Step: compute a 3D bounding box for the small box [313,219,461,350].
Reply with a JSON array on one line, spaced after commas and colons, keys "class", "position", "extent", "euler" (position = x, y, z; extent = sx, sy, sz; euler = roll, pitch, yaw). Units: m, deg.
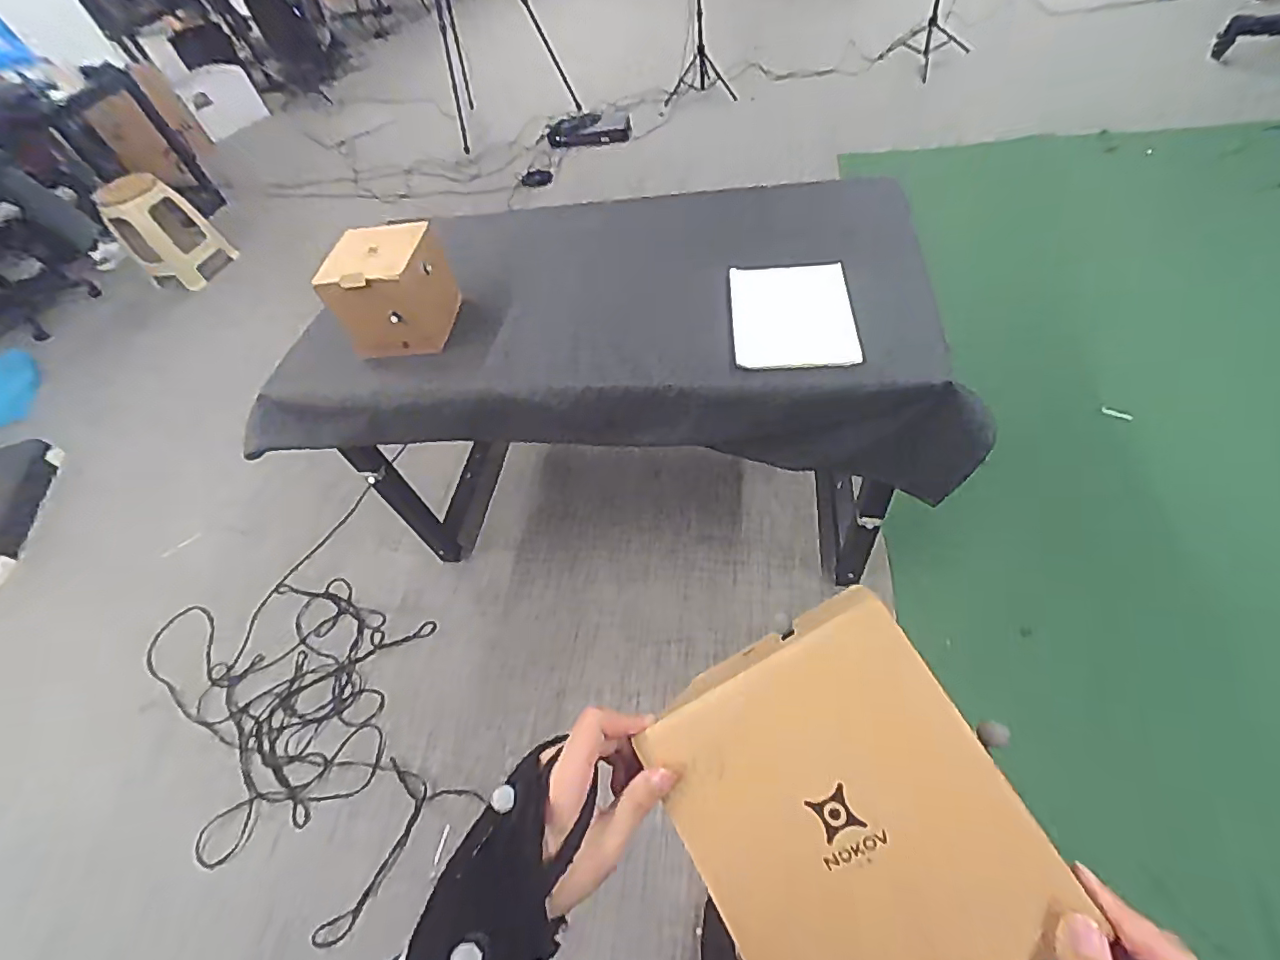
[{"class": "small box", "position": [-0.459, -0.359, 1.015], "extent": [0.168, 0.176, 0.179], "euler": [-2, 52, 7]}]
